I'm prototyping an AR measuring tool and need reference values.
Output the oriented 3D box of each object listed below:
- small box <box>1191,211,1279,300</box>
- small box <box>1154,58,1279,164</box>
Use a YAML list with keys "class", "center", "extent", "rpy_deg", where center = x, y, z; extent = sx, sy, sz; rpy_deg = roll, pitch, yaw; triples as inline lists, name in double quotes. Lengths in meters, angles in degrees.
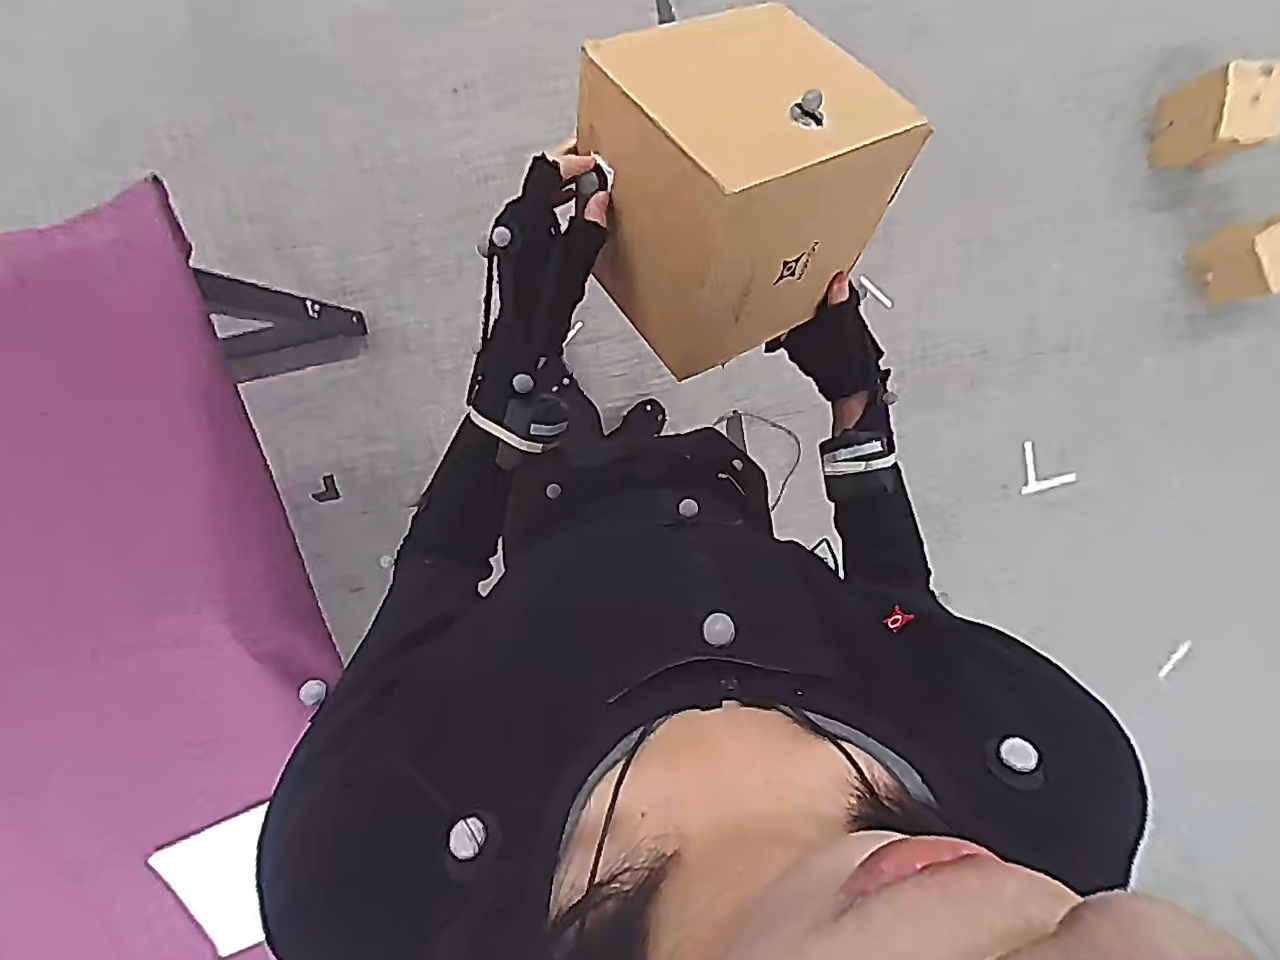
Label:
- class: "small box"
  center: [1.663, -0.606, 1.451]
  extent: [0.179, 0.176, 0.168]
  rpy_deg: [-32, 101, 2]
- class: "small box"
  center: [1.479, -0.933, 1.382]
  extent: [0.168, 0.176, 0.179]
  rpy_deg: [-1, 100, -4]
